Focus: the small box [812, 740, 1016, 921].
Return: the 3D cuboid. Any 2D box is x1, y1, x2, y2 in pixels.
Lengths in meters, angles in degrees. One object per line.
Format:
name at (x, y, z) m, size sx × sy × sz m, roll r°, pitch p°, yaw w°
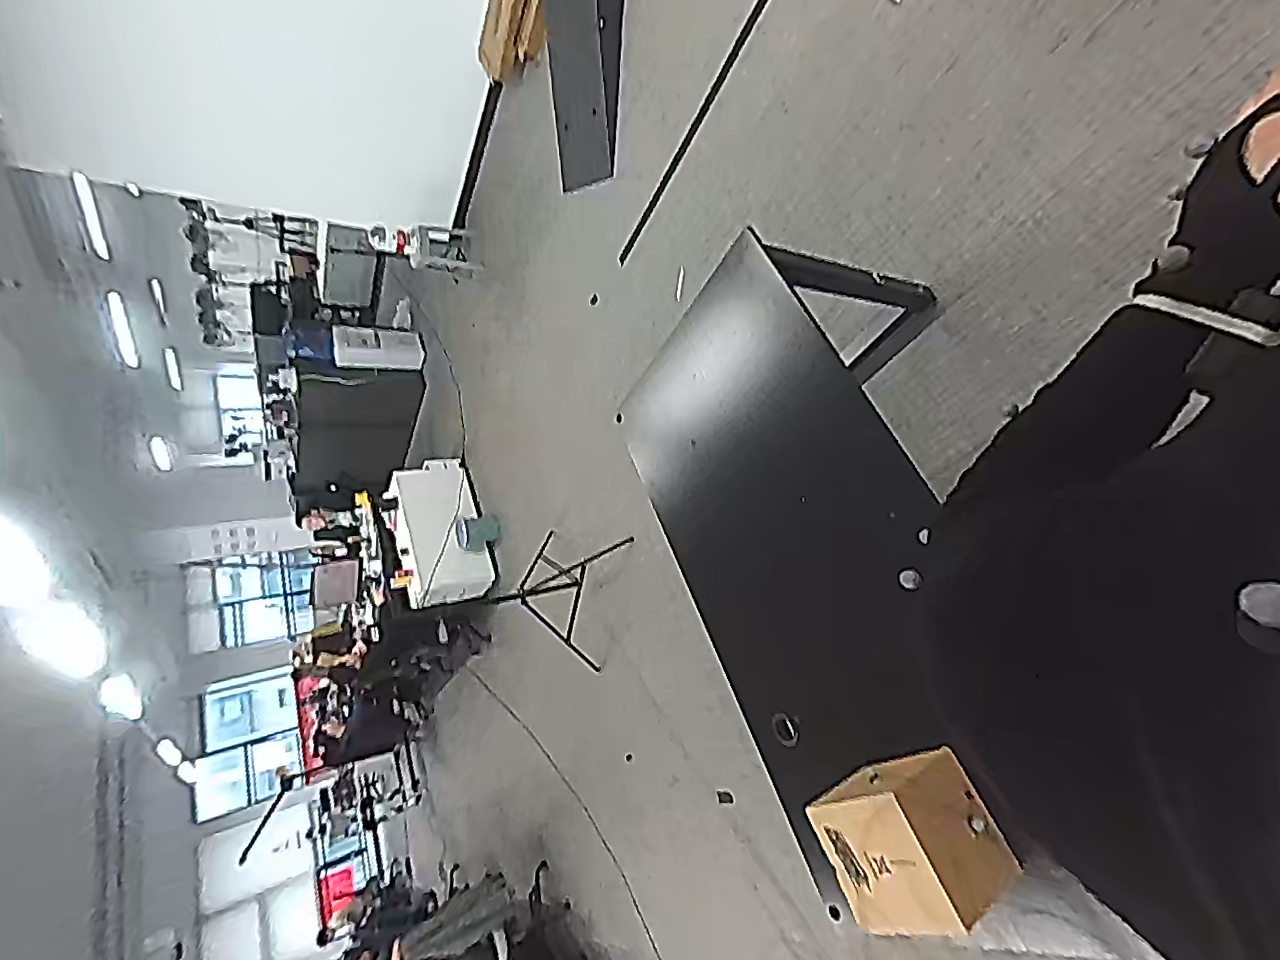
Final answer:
small box at (0.401, 0.511, 0.799) m, size 0.179 × 0.176 × 0.168 m, roll -51°, pitch 55°, yaw 44°
